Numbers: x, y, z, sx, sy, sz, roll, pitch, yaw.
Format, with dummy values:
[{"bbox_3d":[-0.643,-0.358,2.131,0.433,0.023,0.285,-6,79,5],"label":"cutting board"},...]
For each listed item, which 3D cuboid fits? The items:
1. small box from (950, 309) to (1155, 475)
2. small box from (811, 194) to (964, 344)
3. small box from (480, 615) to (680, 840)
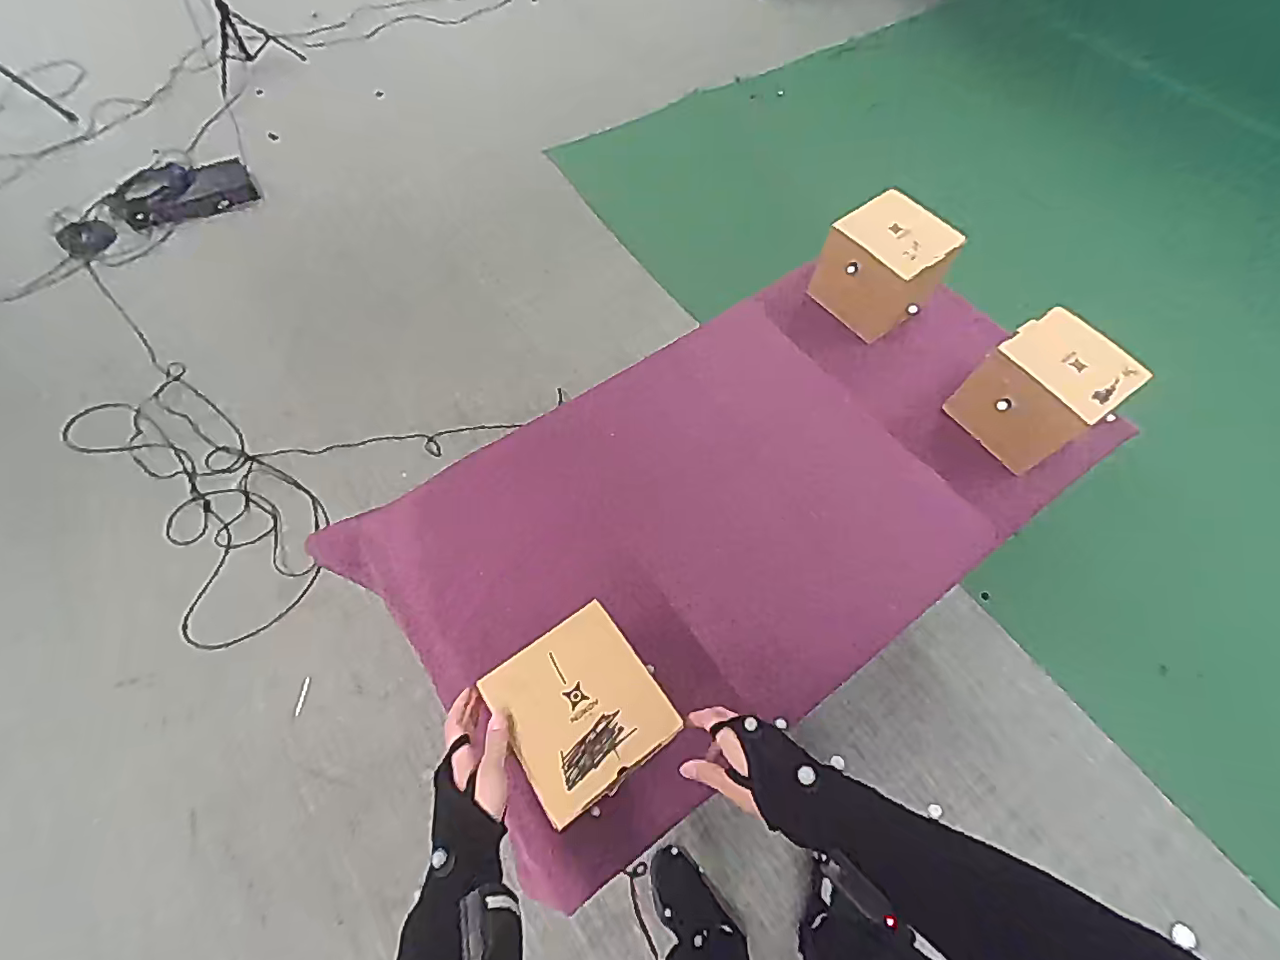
[{"bbox_3d":[0.666,-0.141,0.900,0.168,0.176,0.179,-33,67,-14],"label":"small box"},{"bbox_3d":[0.458,-0.396,1.033,0.168,0.176,0.179,-36,69,-13],"label":"small box"},{"bbox_3d":[-0.066,0.302,0.676,0.168,0.176,0.179,-33,66,-16],"label":"small box"}]
